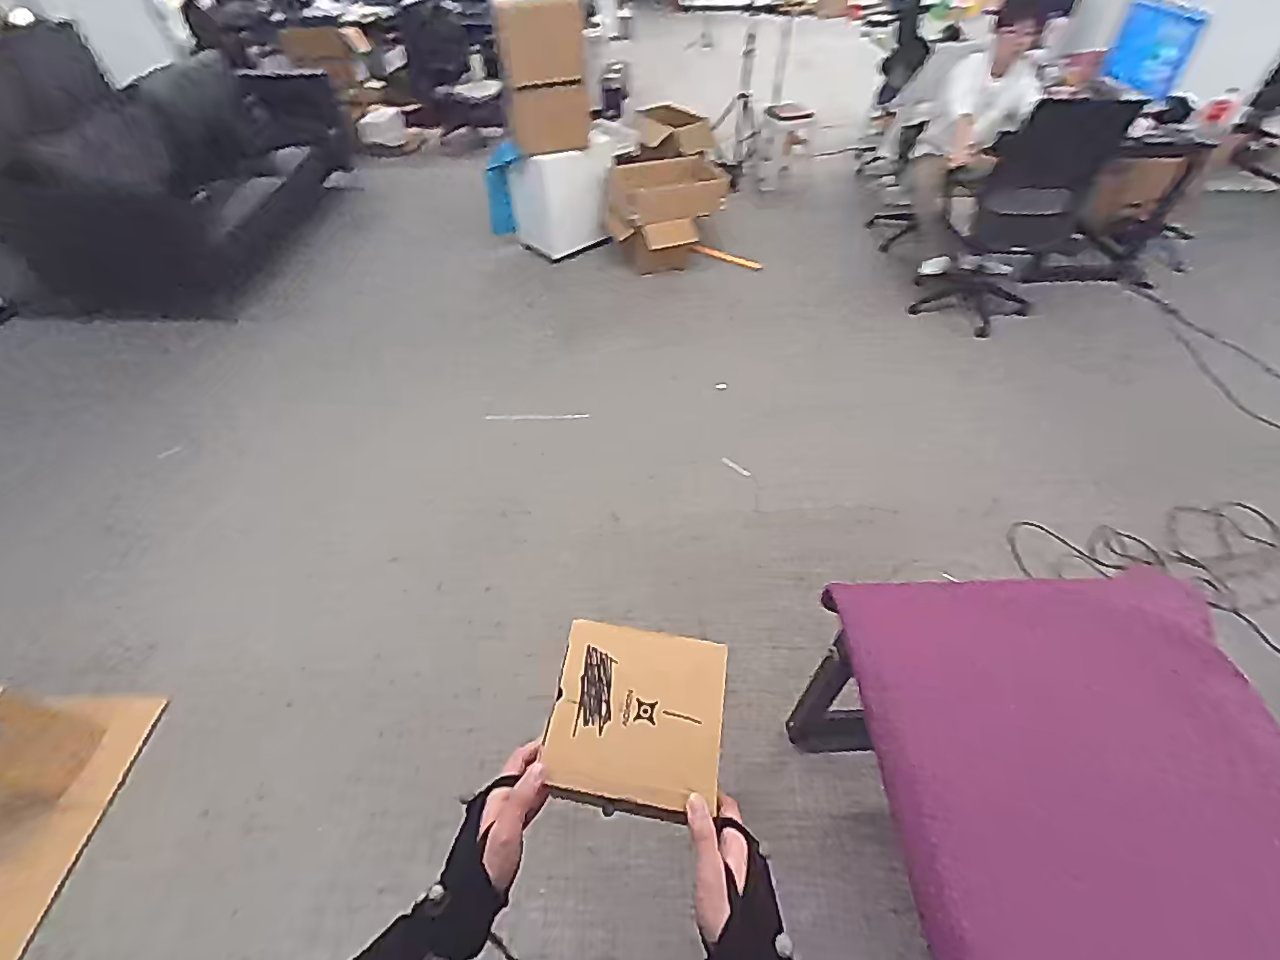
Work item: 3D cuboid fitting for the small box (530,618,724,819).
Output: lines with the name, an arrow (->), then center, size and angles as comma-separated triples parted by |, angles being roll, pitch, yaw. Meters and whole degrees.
small box -> -0.009, 0.277, 0.617 | 0.179, 0.176, 0.168 | 9, 56, 4

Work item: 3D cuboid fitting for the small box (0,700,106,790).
small box -> -1.600, 0.704, 1.442 | 0.168, 0.176, 0.179 | 2, 49, 3

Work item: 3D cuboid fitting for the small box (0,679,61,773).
small box -> -1.604, 0.596, 1.317 | 0.168, 0.176, 0.179 | 5, 49, 4
